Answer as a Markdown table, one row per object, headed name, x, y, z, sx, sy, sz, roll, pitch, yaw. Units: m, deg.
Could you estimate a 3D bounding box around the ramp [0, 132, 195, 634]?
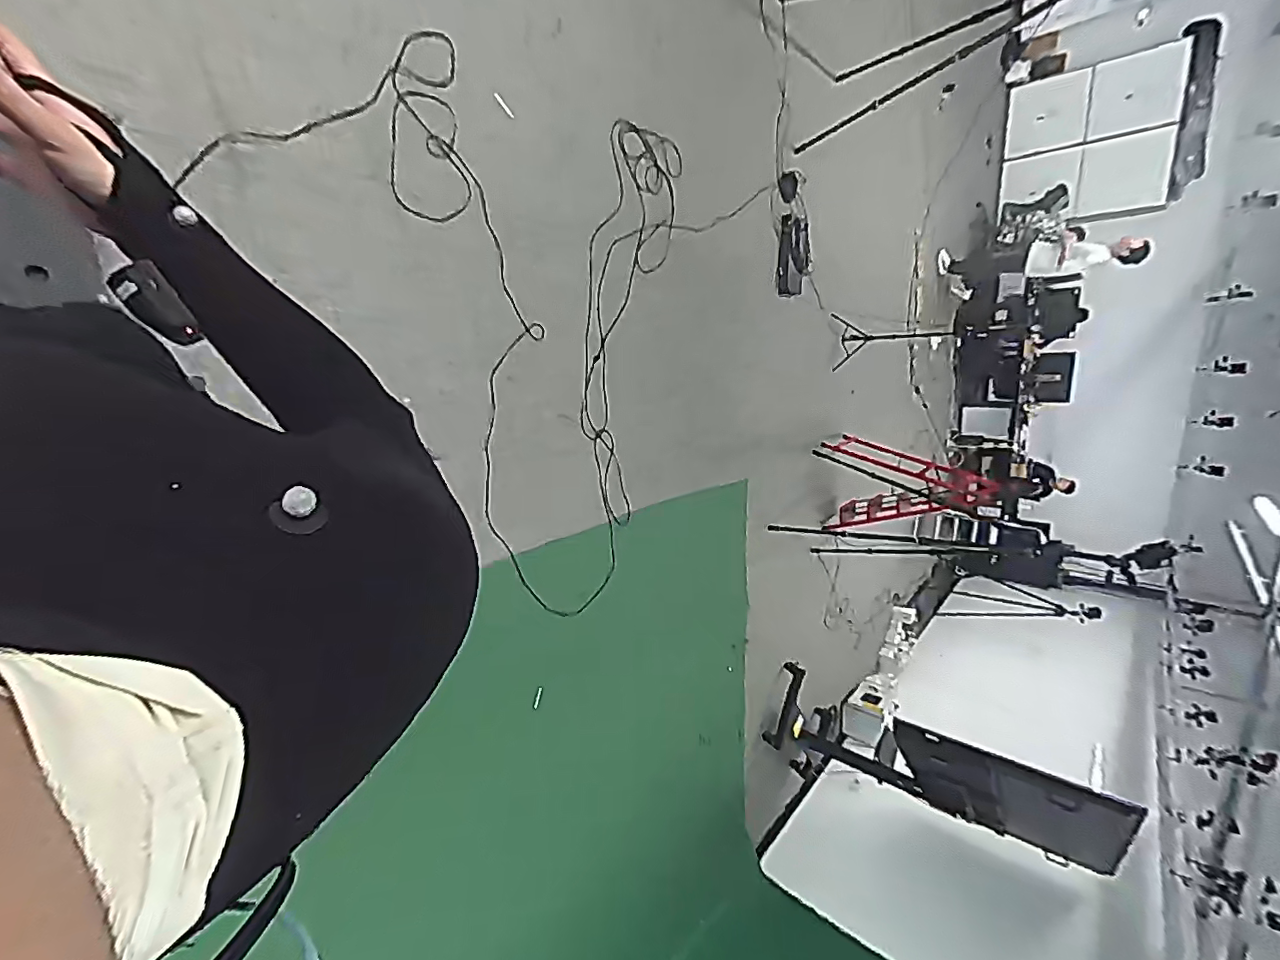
| name | x | y | z | sx | sy | sz | roll | pitch | yaw |
| --- | --- | --- | --- | --- | --- | --- | --- | --- | --- |
| ramp | -1.315 | -0.193 | 1.056 | 0.509 | 0.206 | 0.991 | -20 | 111 | -44 |
